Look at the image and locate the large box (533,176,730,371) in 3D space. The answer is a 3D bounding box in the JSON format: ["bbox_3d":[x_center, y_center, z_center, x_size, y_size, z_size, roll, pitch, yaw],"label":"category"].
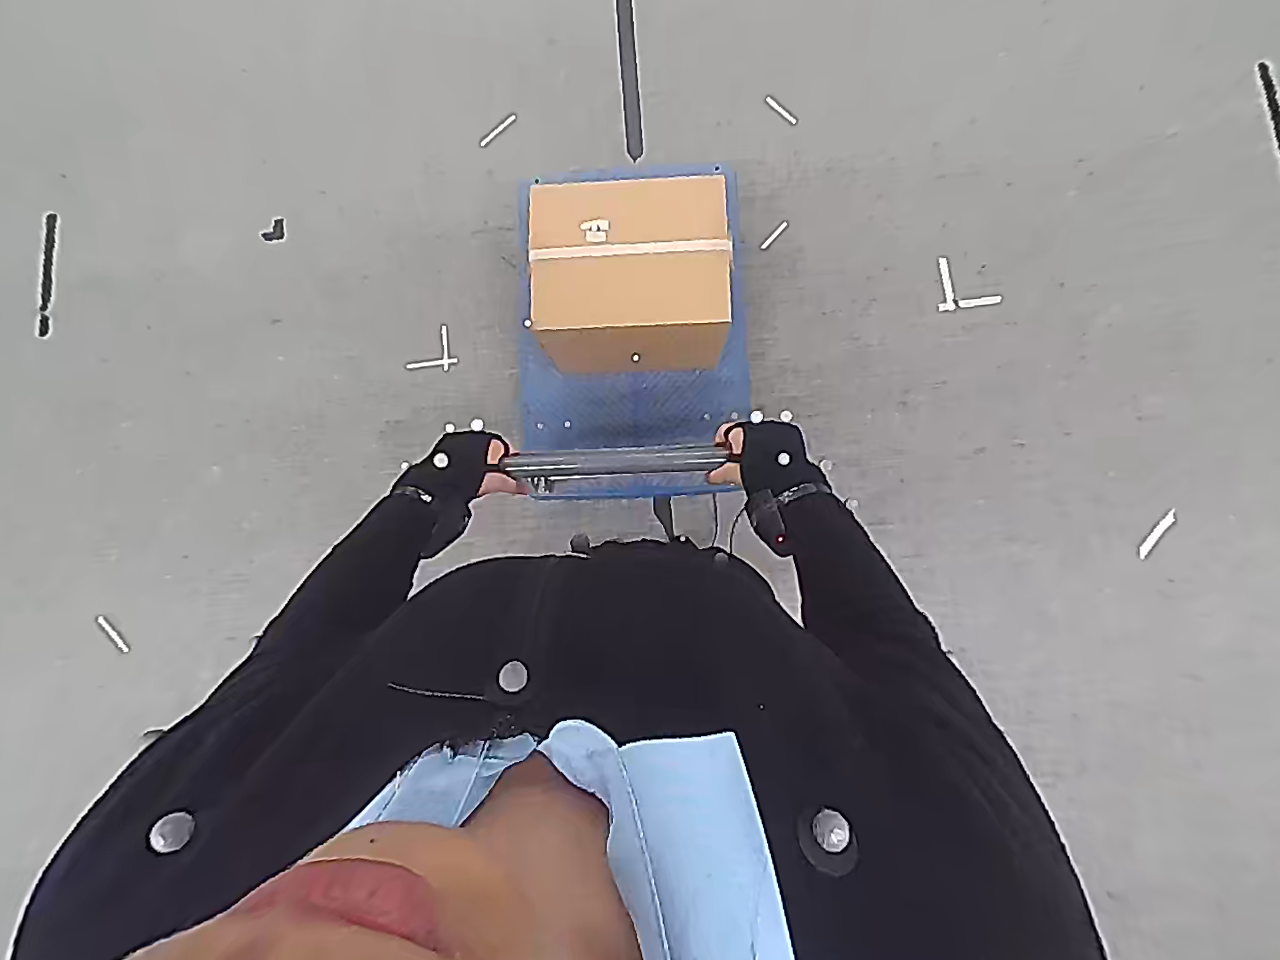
[{"bbox_3d":[-0.012,-0.454,1.263,0.408,0.320,0.320,-2,83,4],"label":"large box"}]
